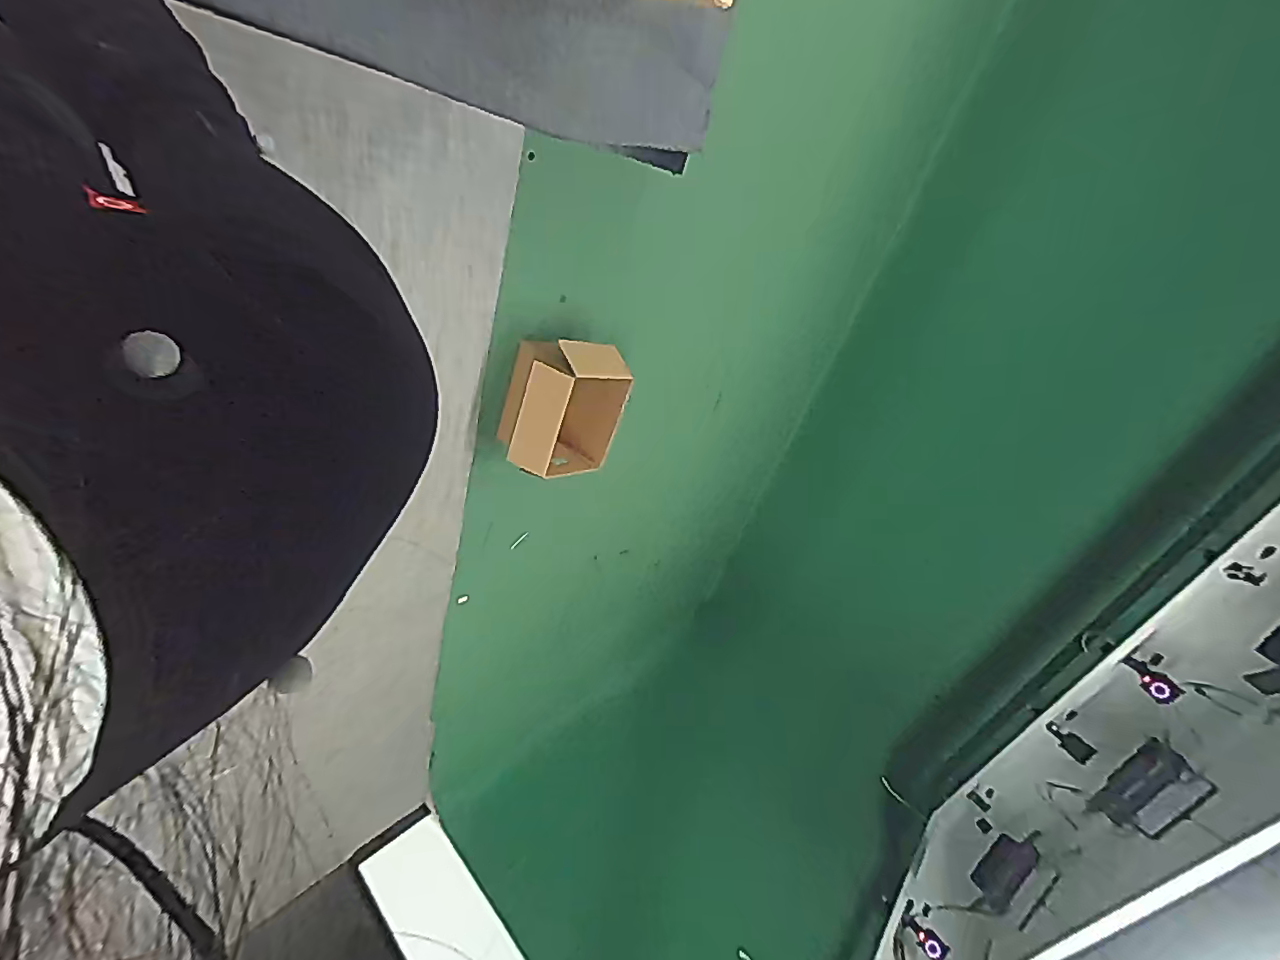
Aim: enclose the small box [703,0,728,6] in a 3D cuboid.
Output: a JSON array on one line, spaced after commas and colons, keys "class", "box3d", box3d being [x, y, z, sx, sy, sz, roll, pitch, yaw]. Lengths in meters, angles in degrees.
[{"class": "small box", "box3d": [0.025, -0.713, 0.644, 0.168, 0.176, 0.179, -19, 137, -46]}]
